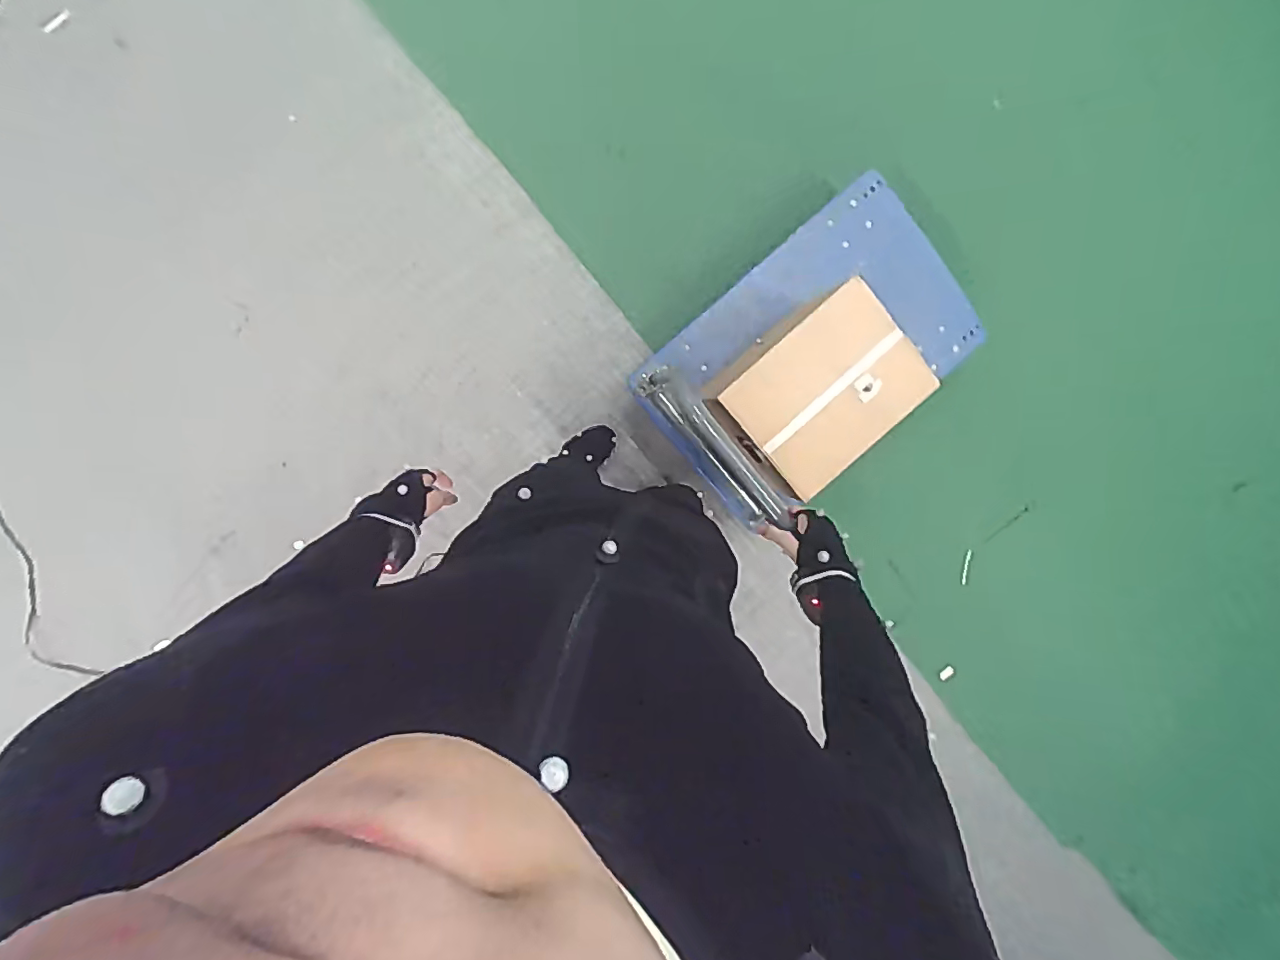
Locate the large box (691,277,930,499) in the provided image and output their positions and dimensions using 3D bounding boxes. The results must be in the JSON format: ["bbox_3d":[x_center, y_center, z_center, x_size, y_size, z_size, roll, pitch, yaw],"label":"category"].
[{"bbox_3d":[0.391,-0.212,1.333,0.408,0.320,0.320,-41,100,0],"label":"large box"}]
